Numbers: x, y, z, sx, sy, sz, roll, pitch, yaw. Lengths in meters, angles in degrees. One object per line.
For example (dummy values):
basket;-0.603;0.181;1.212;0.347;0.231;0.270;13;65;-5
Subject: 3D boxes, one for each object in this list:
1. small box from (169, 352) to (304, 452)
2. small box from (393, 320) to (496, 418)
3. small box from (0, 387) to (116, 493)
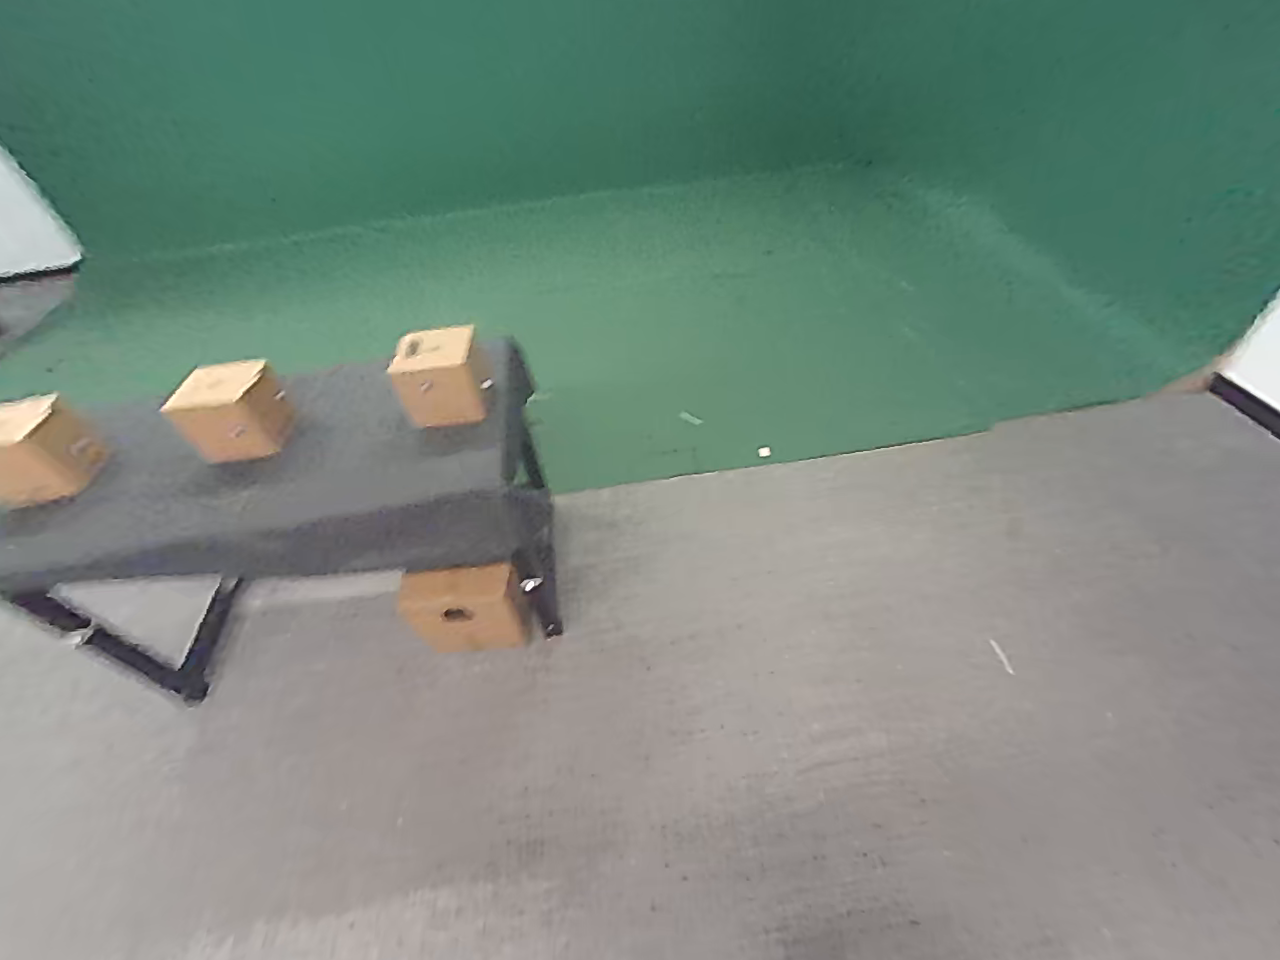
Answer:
small box;-0.965;-0.187;1.316;0.179;0.176;0.168;-8;45;1
small box;-0.470;-0.268;1.327;0.179;0.176;0.168;-6;47;1
small box;-1.415;-0.092;1.276;0.179;0.176;0.168;-12;47;-6
